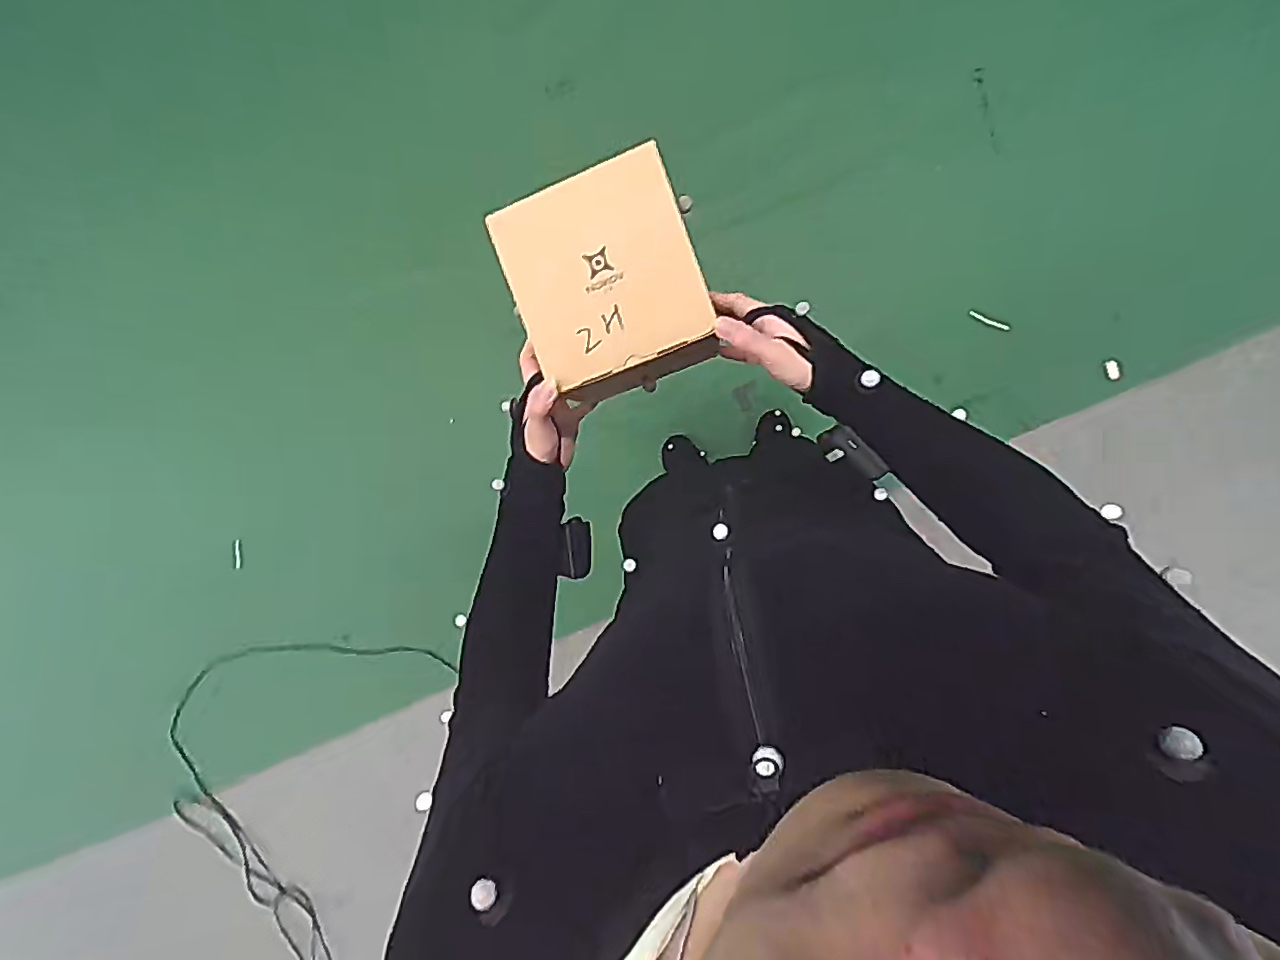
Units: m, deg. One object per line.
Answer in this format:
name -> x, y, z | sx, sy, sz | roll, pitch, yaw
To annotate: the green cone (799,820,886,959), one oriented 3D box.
green cone -> 0.602, 1.170, 1.493 | 0.202, 0.368, 0.200 | -24, 93, 6
